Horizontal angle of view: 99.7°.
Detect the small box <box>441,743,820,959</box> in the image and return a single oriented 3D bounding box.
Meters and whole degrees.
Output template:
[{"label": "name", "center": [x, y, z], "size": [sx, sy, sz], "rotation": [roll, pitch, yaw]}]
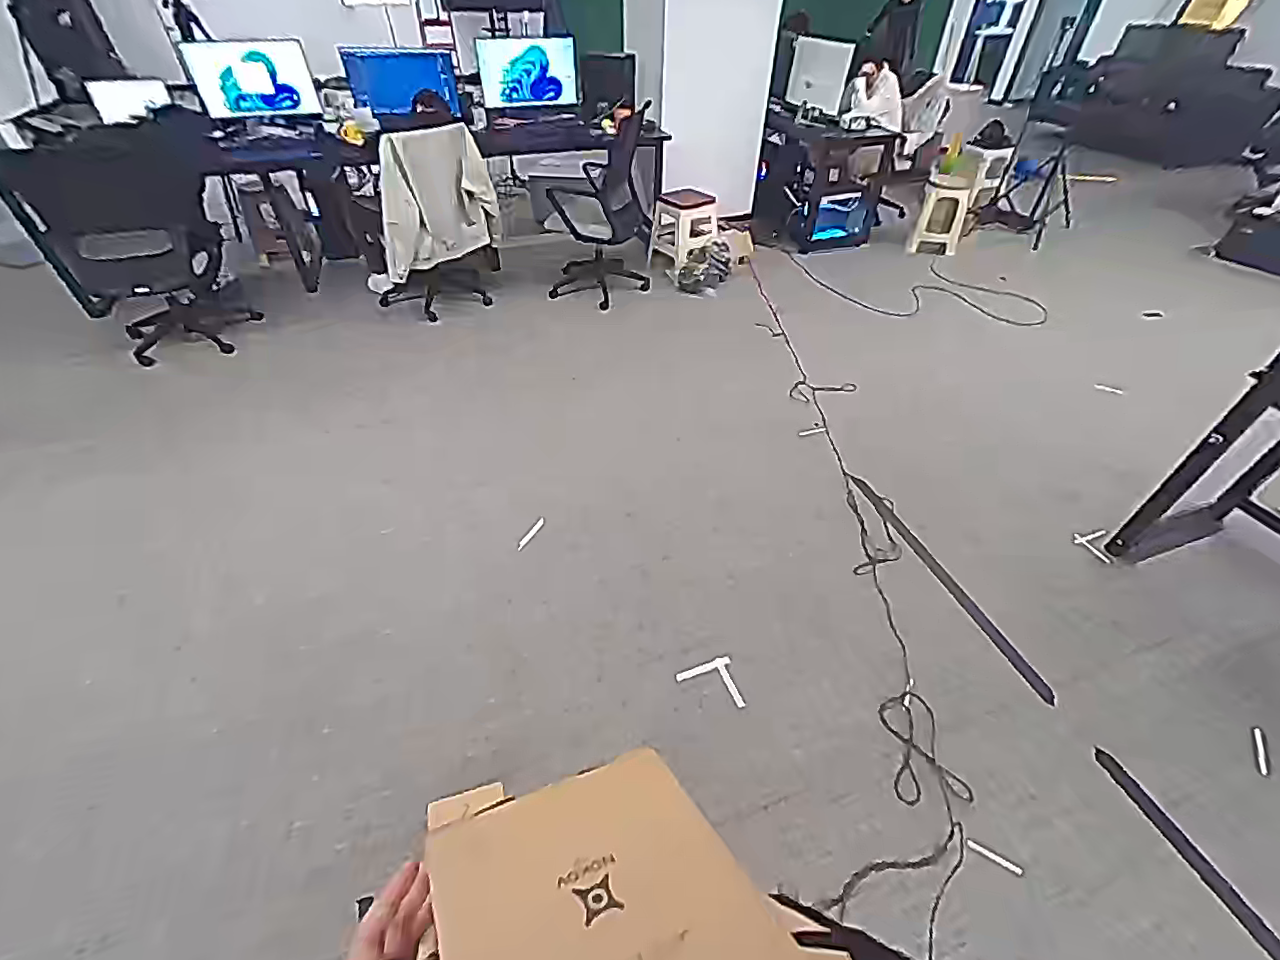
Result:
[{"label": "small box", "center": [-0.019, 0.308, 0.328], "size": [0.168, 0.176, 0.179], "rotation": [-8, 16, -27]}]
